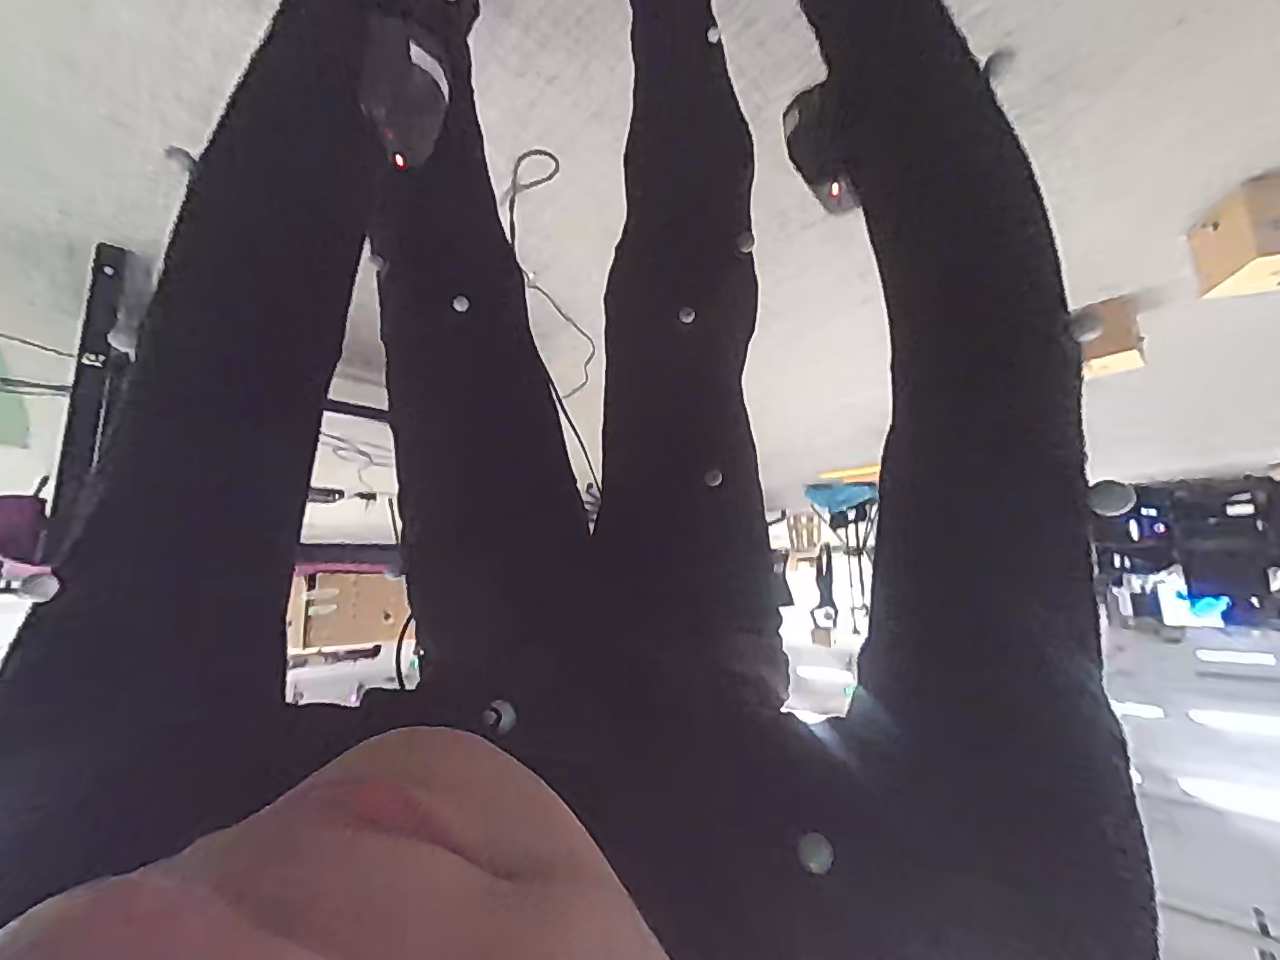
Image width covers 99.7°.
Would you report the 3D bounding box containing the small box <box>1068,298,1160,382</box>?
[{"bbox_3d":[1.376,-0.406,1.573,0.179,0.176,0.168,8,166,-39],"label":"small box"}]
